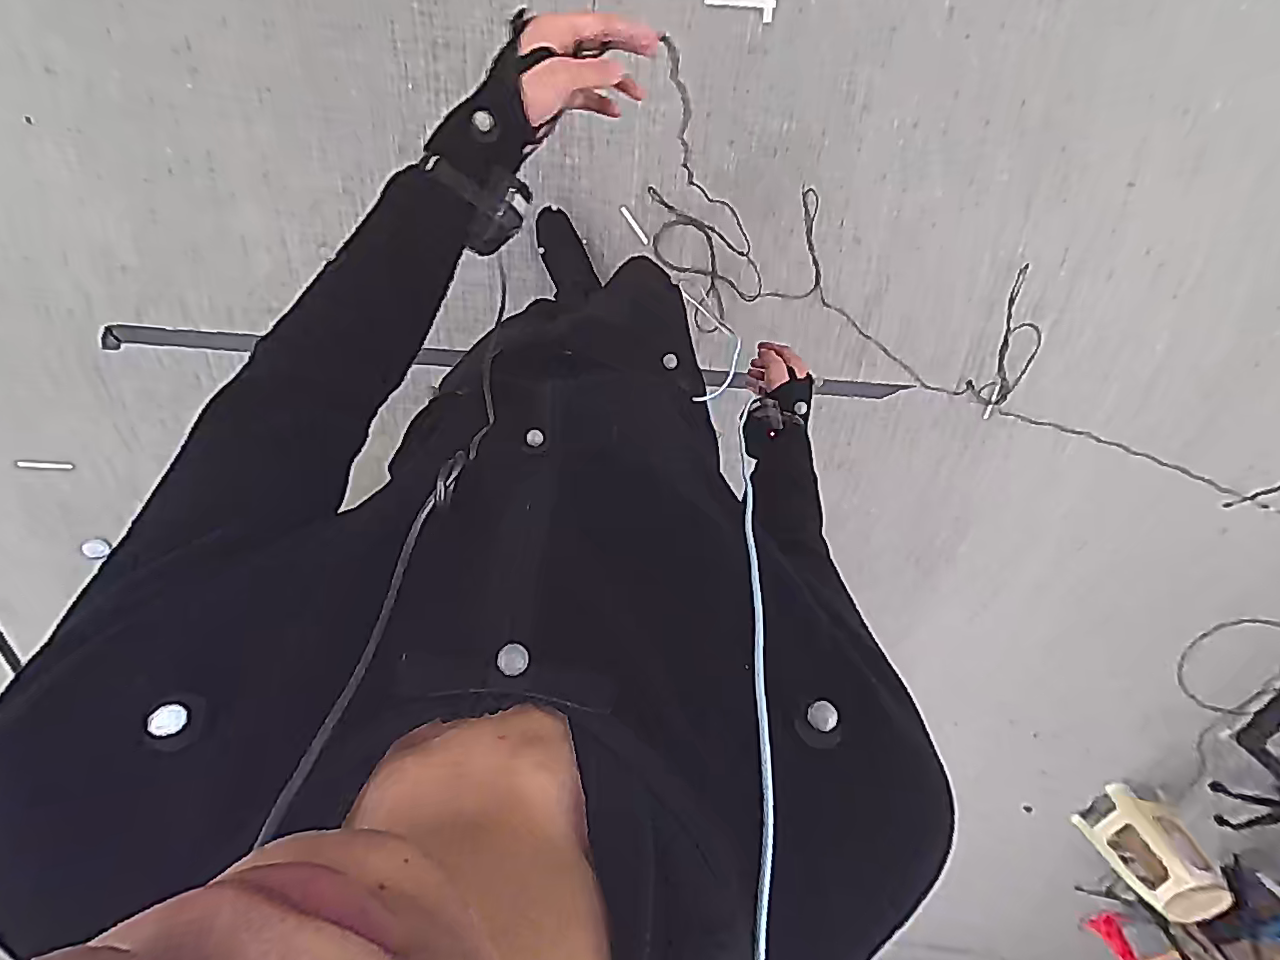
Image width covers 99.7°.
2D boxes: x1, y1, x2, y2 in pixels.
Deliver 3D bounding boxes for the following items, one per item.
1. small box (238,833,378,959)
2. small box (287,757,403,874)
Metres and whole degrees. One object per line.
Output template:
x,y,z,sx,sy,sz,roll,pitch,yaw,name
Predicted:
-0.633,0.826,1.059,0.168,0.176,0.179,3,118,-6,small box
-0.641,0.739,1.198,0.168,0.176,0.179,3,119,-5,small box
